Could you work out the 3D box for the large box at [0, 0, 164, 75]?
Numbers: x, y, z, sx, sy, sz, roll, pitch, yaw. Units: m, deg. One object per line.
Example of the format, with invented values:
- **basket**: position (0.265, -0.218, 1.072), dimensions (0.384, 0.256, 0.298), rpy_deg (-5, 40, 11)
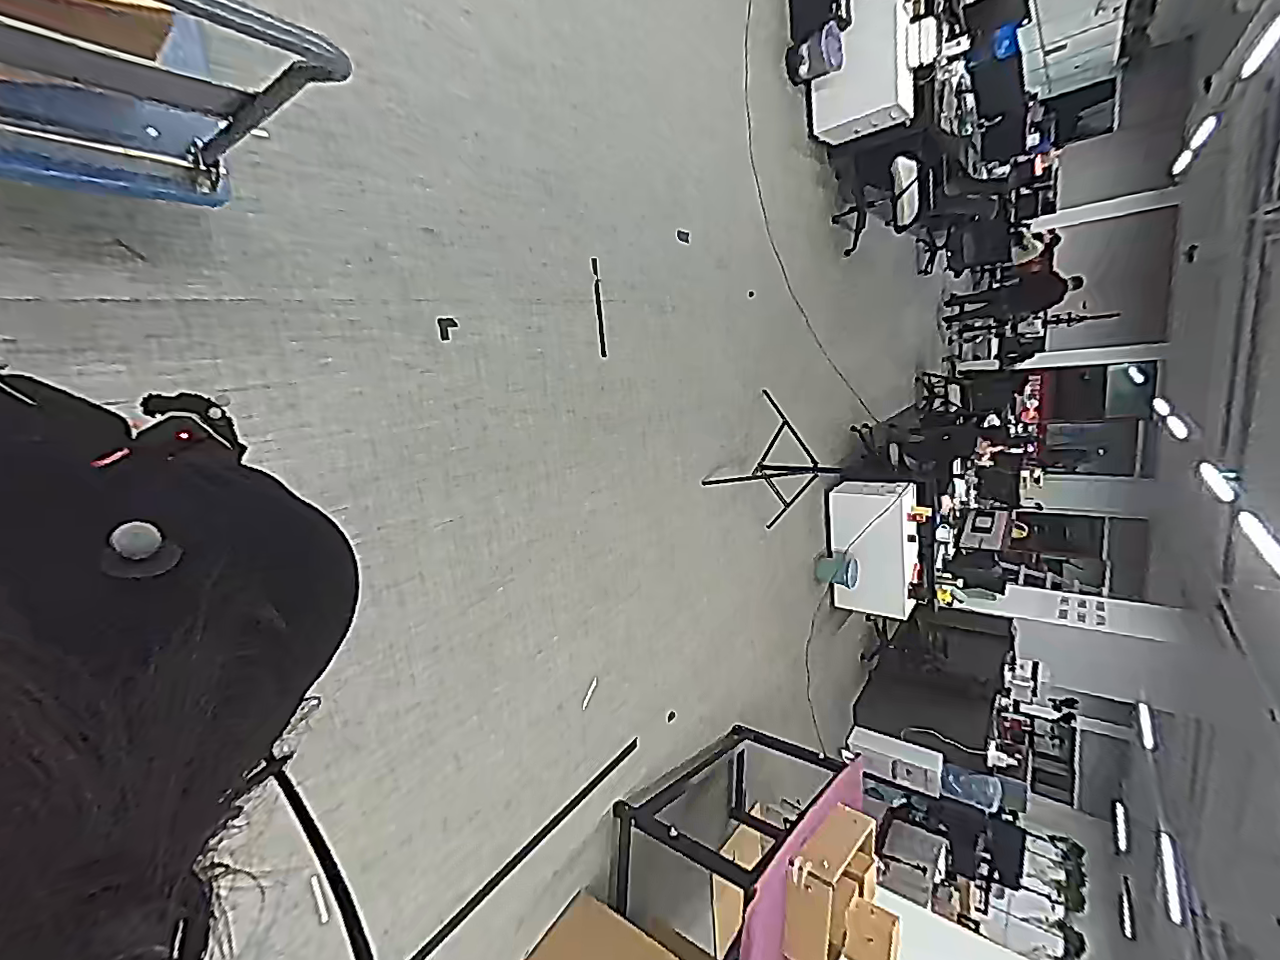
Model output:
- **large box**: position (-0.974, -0.791, 0.713), dimensions (0.408, 0.320, 0.320), rpy_deg (-36, 121, -46)
